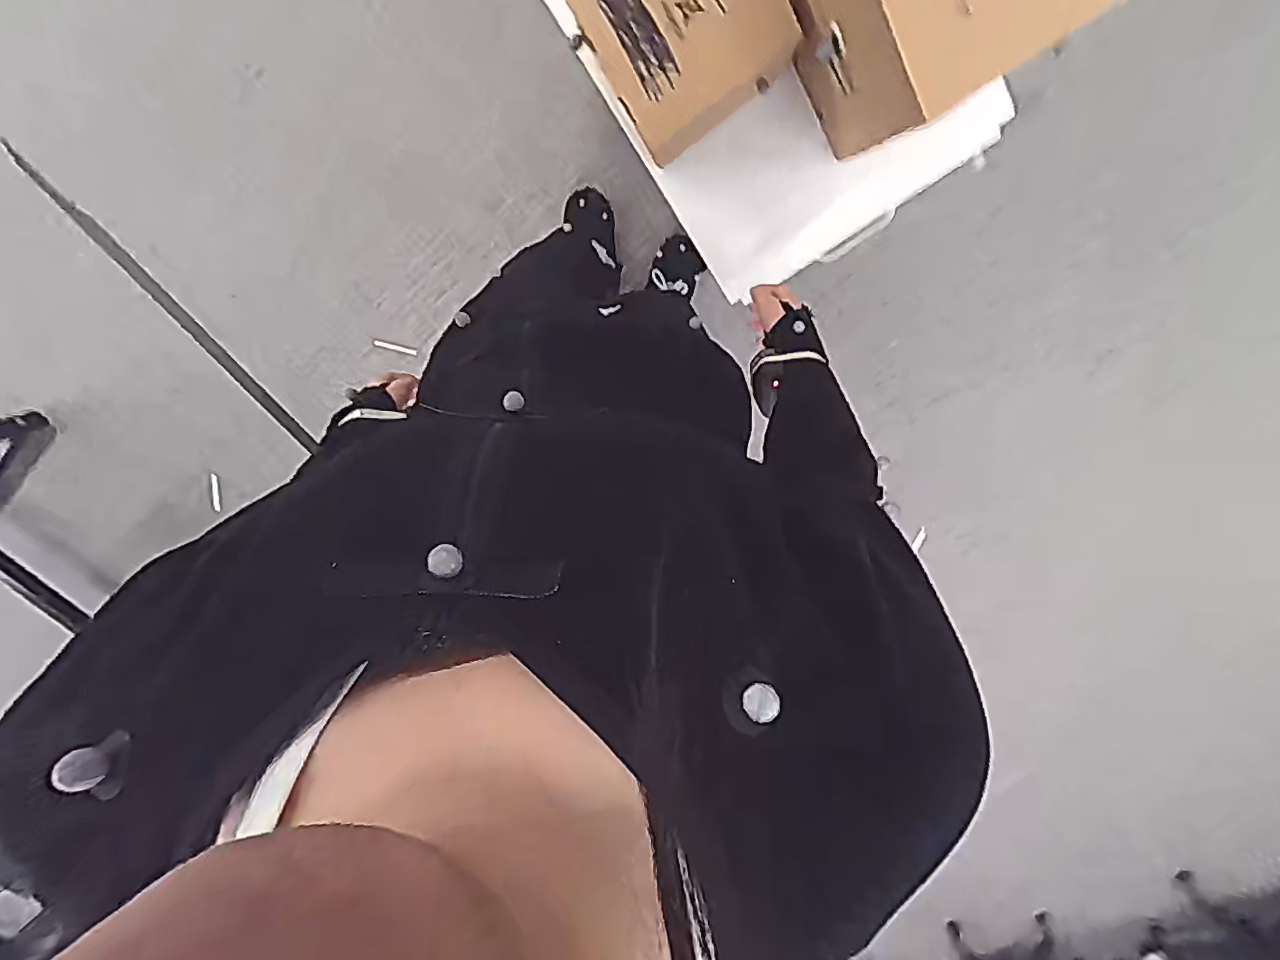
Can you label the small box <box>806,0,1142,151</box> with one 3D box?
[{"bbox_3d":[0.253,-0.394,0.423,0.179,0.176,0.168,-28,109,20],"label":"small box"}]
